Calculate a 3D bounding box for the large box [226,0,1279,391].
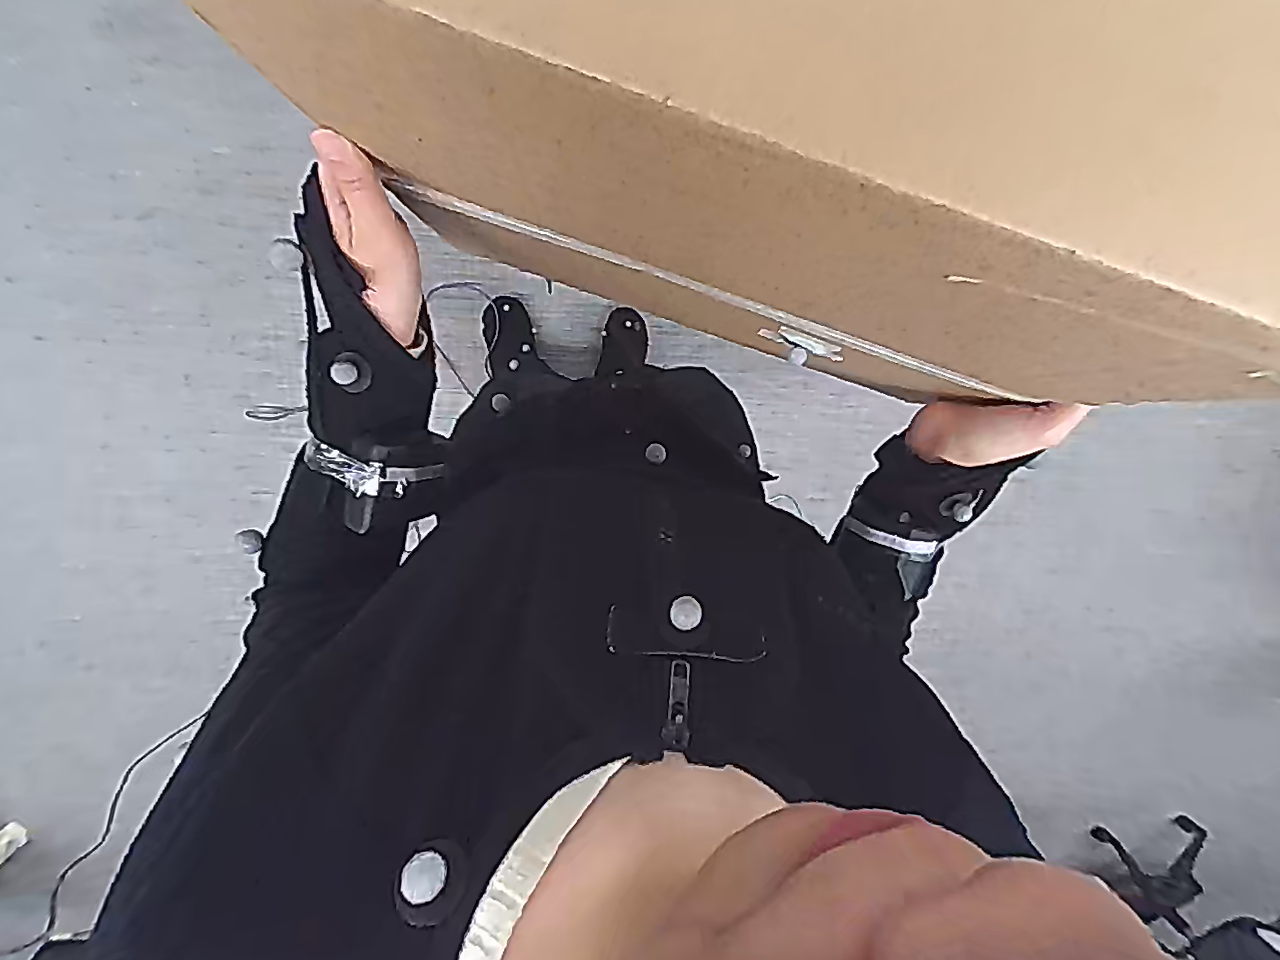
[{"bbox_3d":[0.092,-0.258,0.272,0.408,0.320,0.320,17,98,-4],"label":"large box"}]
